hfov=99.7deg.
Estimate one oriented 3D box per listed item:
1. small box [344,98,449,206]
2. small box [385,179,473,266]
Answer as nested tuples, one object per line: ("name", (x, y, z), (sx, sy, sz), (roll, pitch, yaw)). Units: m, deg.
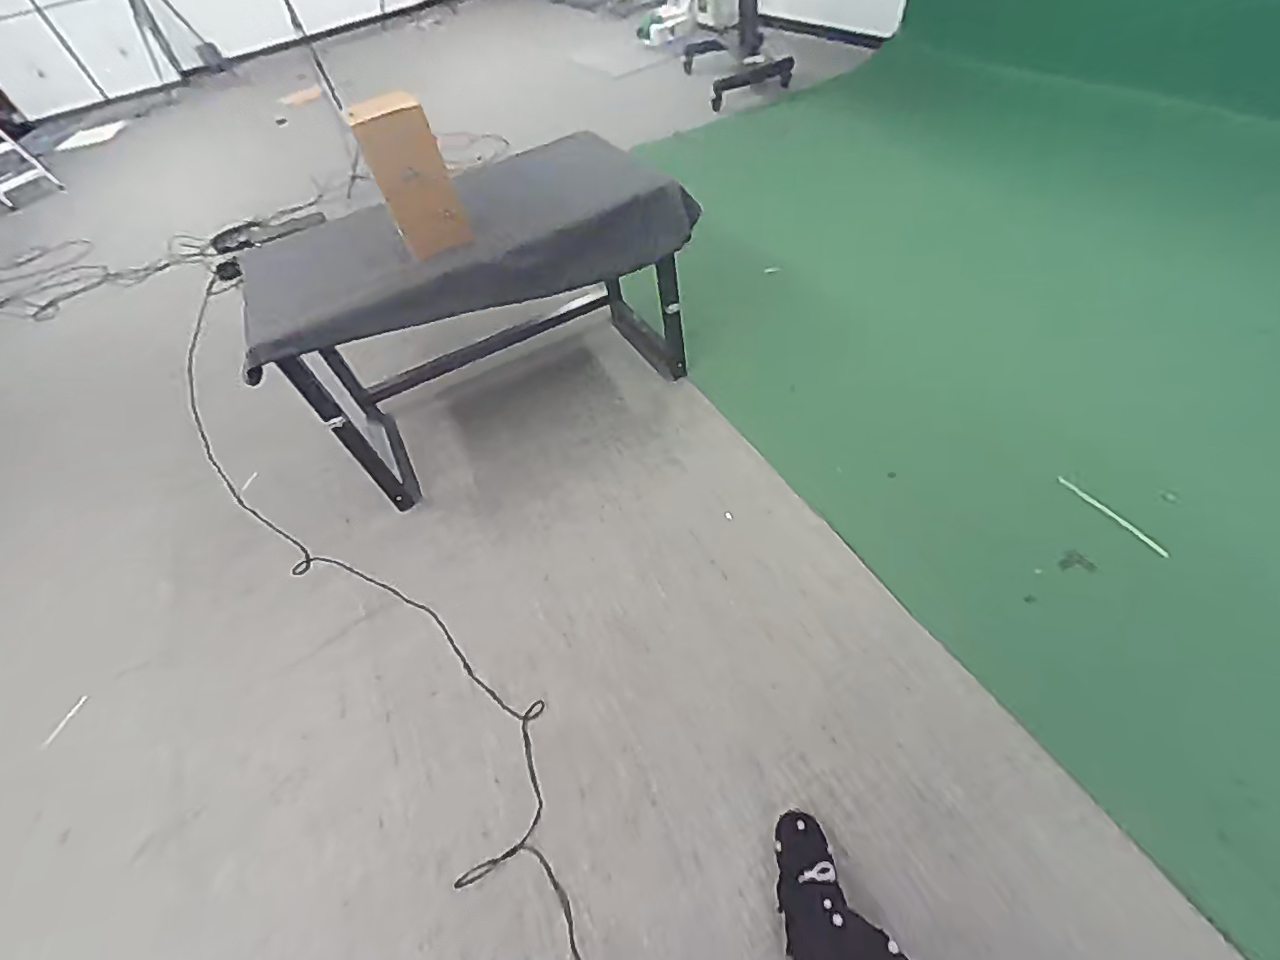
("small box", (-0.605, -0.824, 1.364), (0.179, 0.176, 0.168), (-30, 52, -13))
("small box", (-0.579, -0.722, 1.486), (0.179, 0.176, 0.168), (-29, 50, -11))
